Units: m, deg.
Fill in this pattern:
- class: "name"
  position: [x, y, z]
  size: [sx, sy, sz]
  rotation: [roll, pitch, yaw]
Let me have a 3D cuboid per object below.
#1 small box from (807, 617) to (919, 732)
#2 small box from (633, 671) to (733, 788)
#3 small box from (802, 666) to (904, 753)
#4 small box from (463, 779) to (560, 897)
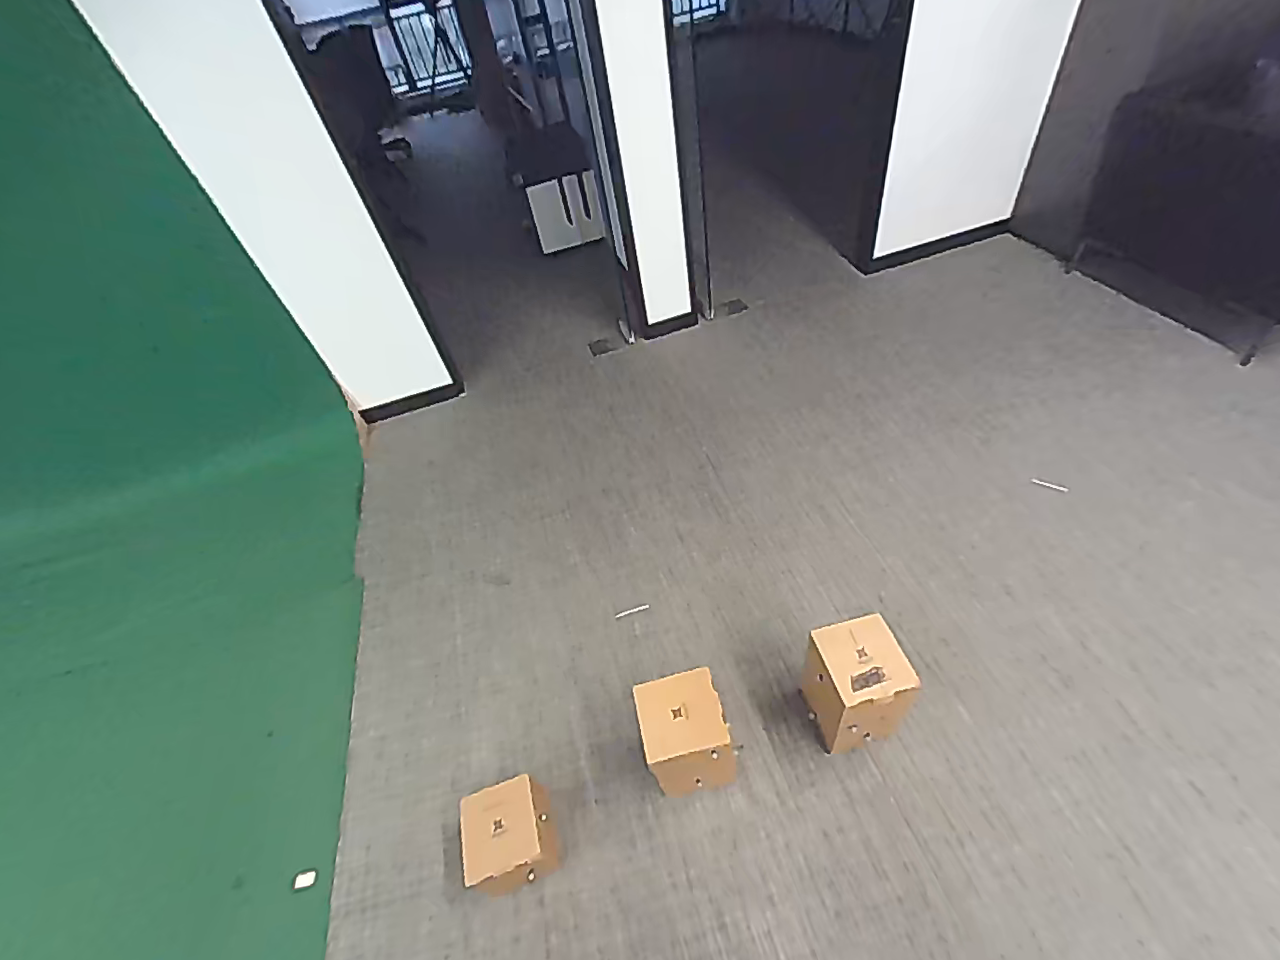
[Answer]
- class: "small box"
  position: [0.486, 0.441, 1.208]
  size: [0.168, 0.176, 0.179]
  rotation: [-15, 45, -2]
- class: "small box"
  position: [0.097, 0.552, 1.191]
  size: [0.179, 0.176, 0.168]
  rotation: [-15, 45, -2]
- class: "small box"
  position: [0.513, 0.550, 1.329]
  size: [0.168, 0.176, 0.179]
  rotation: [-16, 46, -3]
- class: "small box"
  position: [-0.293, 0.829, 1.244]
  size: [0.168, 0.176, 0.179]
  rotation: [-18, 45, -6]
